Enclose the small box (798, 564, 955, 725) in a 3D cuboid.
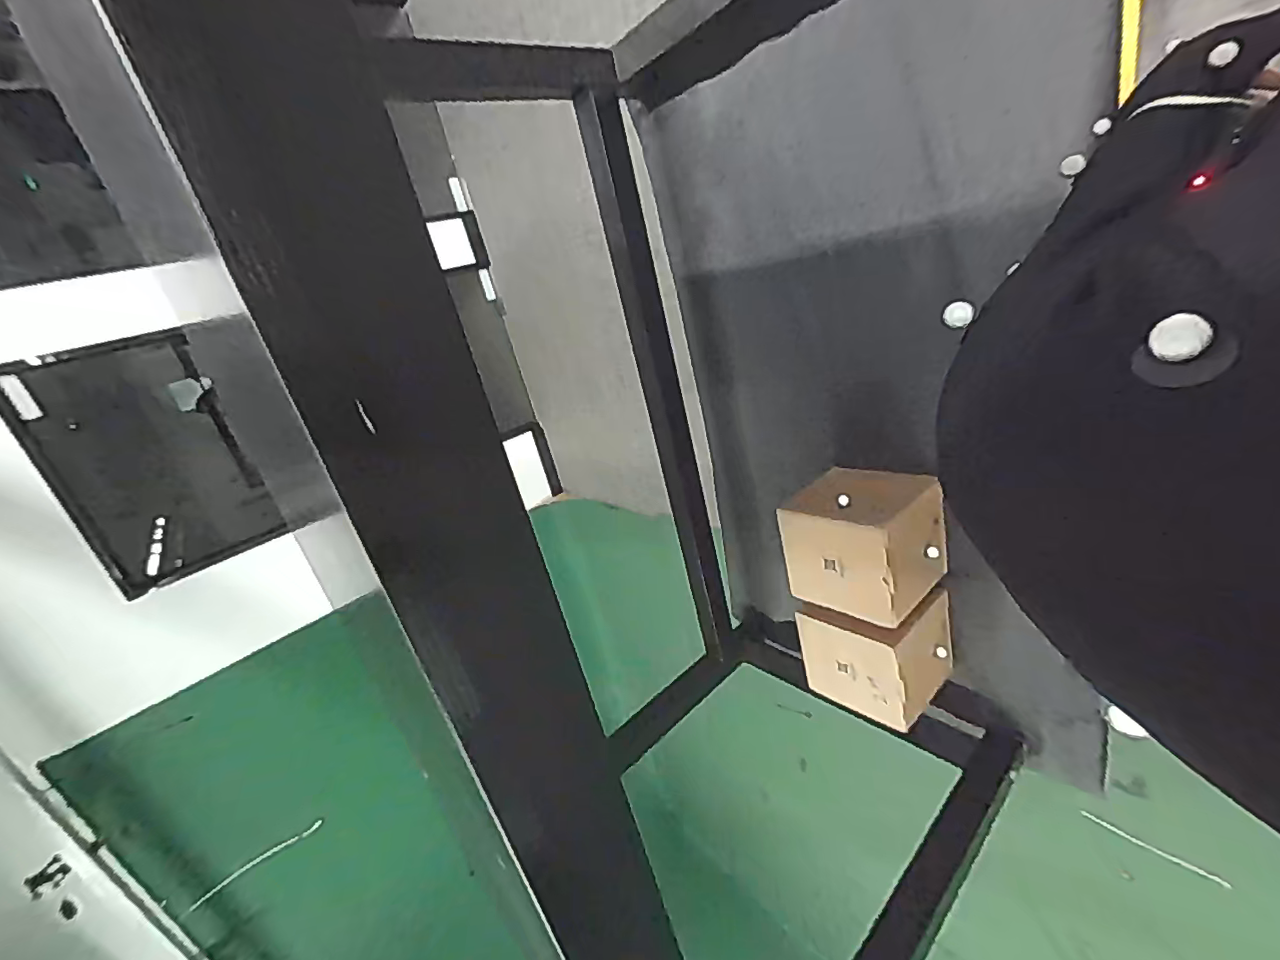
[{"bbox_3d":[0.396,0.260,0.905,0.179,0.176,0.168,10,122,51],"label":"small box"}]
